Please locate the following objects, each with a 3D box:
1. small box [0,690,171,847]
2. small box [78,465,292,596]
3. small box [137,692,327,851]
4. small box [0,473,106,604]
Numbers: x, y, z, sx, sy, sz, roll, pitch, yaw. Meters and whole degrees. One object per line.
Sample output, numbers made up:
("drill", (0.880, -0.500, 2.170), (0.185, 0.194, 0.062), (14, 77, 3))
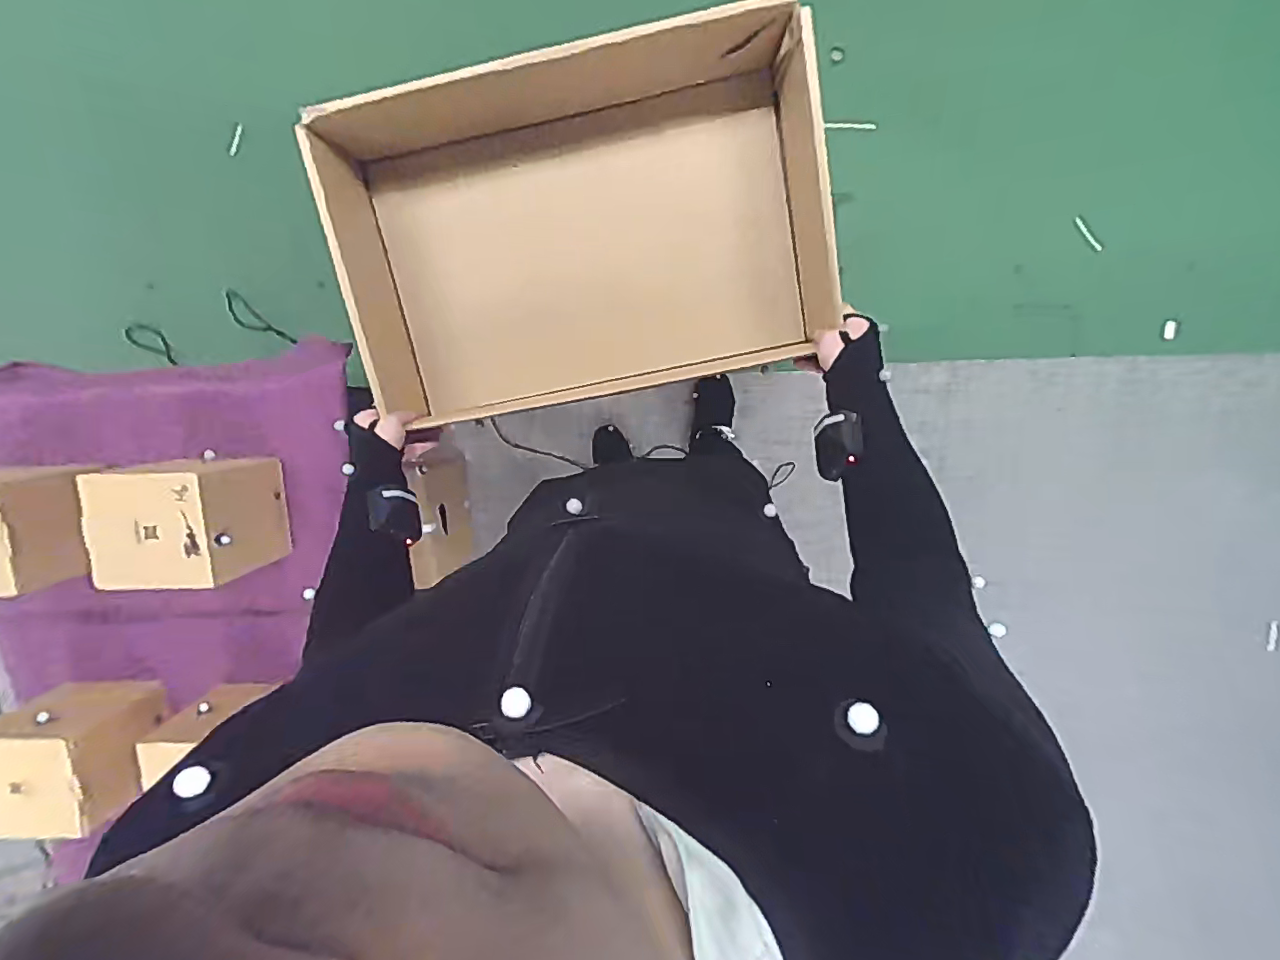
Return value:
("small box", (-0.927, 0.463, 0.890), (0.179, 0.176, 0.168), (-1, 98, 0))
("small box", (-0.677, 0.069, 0.825), (0.179, 0.176, 0.168), (-1, 100, 3))
("small box", (-0.652, 0.465, 0.884), (0.179, 0.176, 0.168), (-1, 99, 2))
("small box", (-0.964, 0.083, 0.830), (0.179, 0.176, 0.168), (-2, 100, 0))
